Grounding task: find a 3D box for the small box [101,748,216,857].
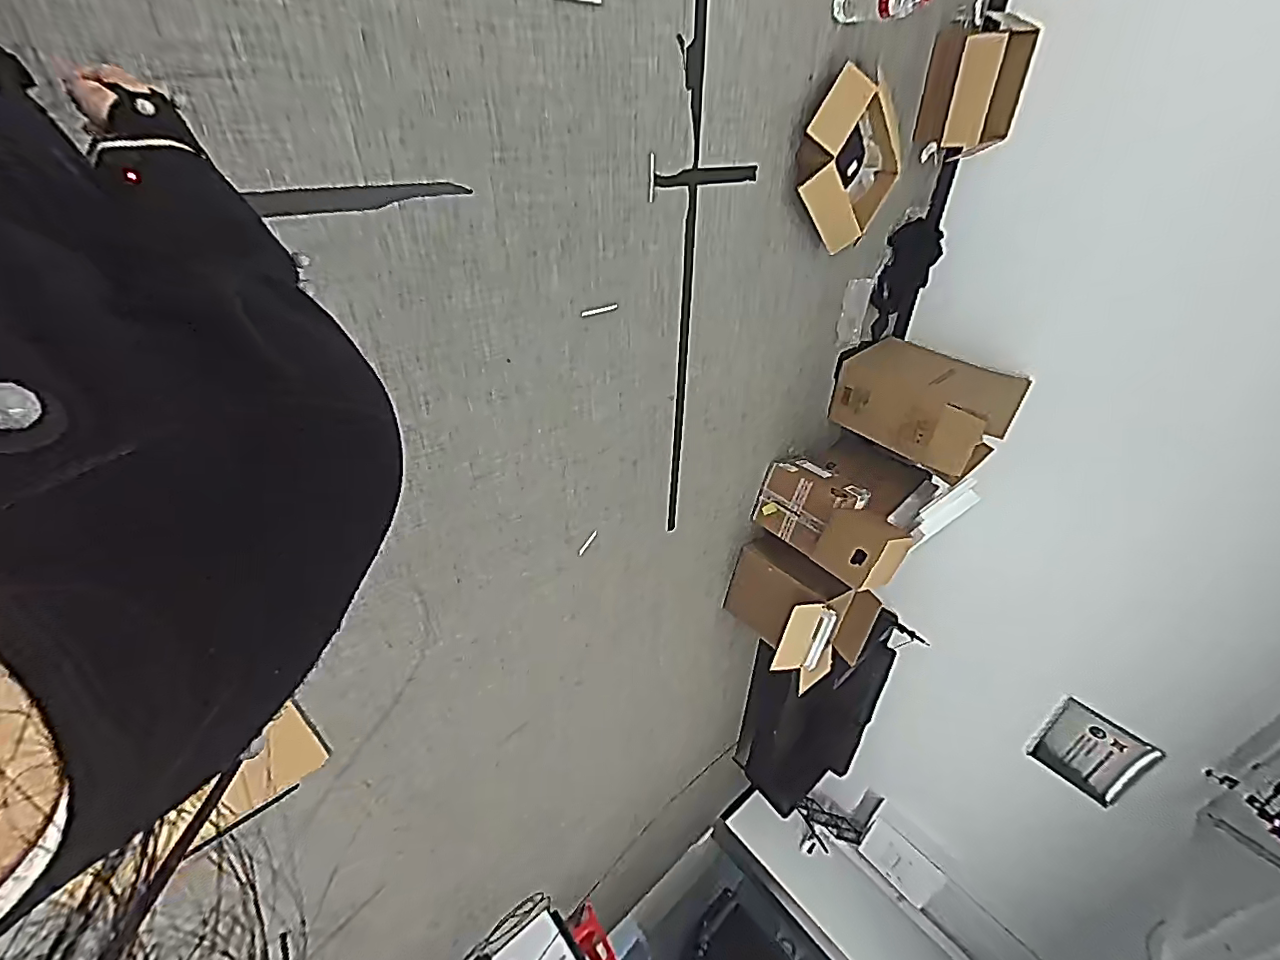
[{"bbox_3d":[-1.318,0.877,1.482,0.168,0.176,0.179,-36,137,-27],"label":"small box"}]
